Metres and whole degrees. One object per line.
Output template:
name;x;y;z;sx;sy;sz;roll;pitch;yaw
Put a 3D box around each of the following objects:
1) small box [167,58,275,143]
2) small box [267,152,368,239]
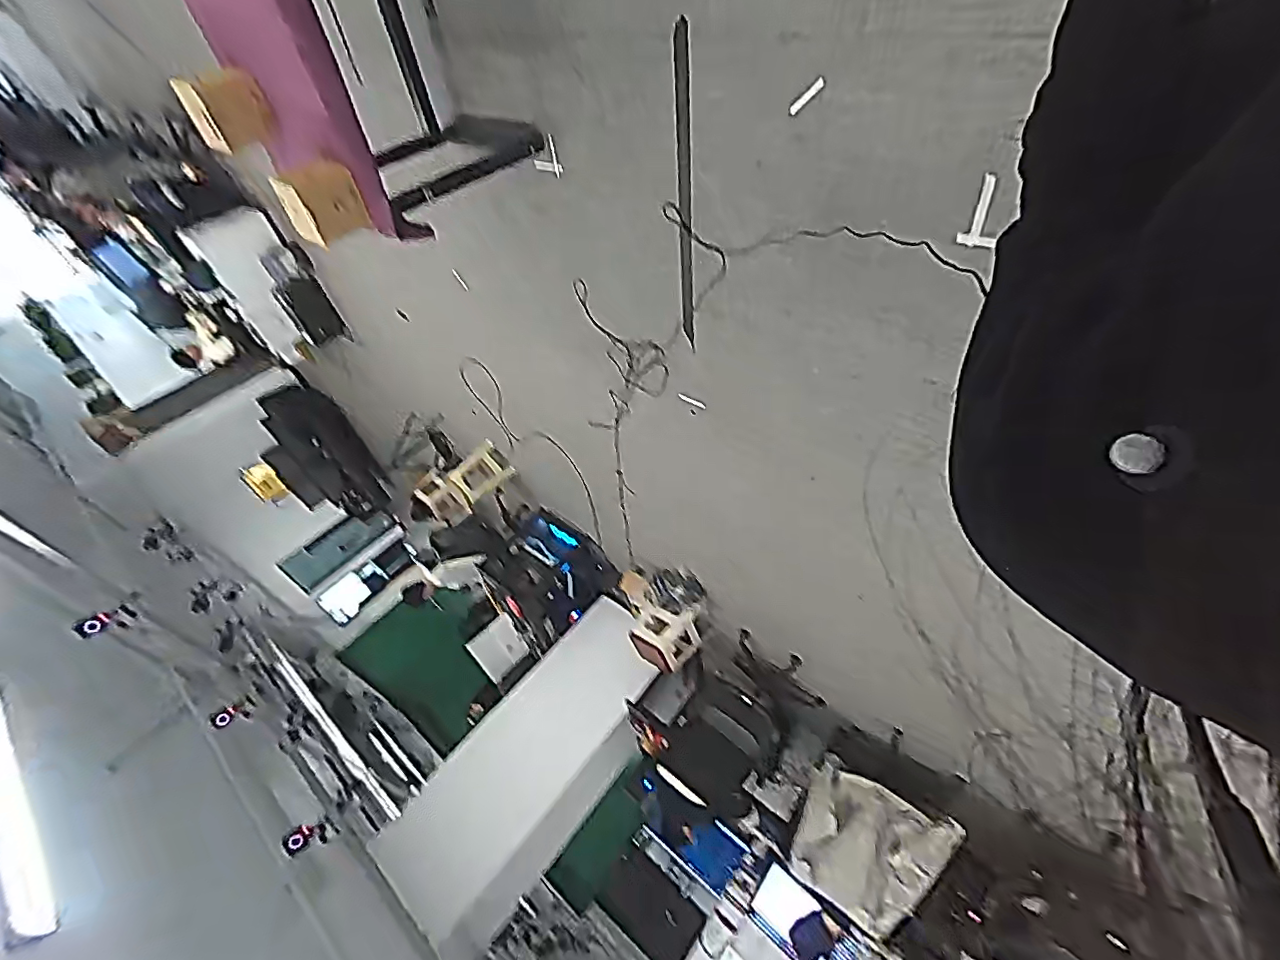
small box;-1.243;-1.141;1.621;0.179;0.176;0.168;30;148;27
small box;-0.941;-0.845;1.598;0.179;0.176;0.168;30;148;28
